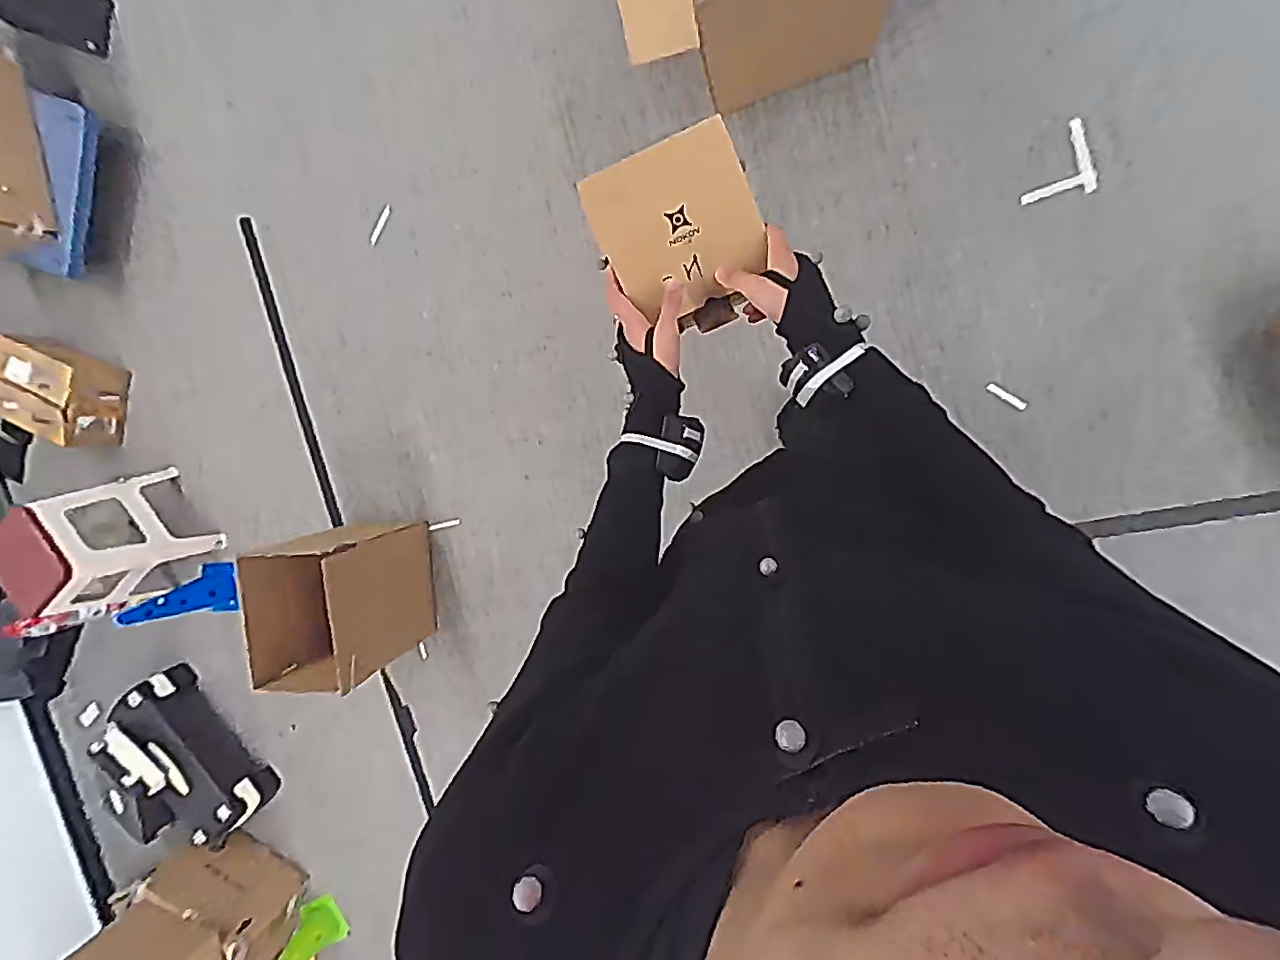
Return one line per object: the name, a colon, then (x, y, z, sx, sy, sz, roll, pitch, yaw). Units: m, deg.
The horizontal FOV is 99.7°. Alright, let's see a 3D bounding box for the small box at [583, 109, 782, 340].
small box: (0.045, -0.285, 0.648, 0.168, 0.176, 0.179, -23, 99, 4)
